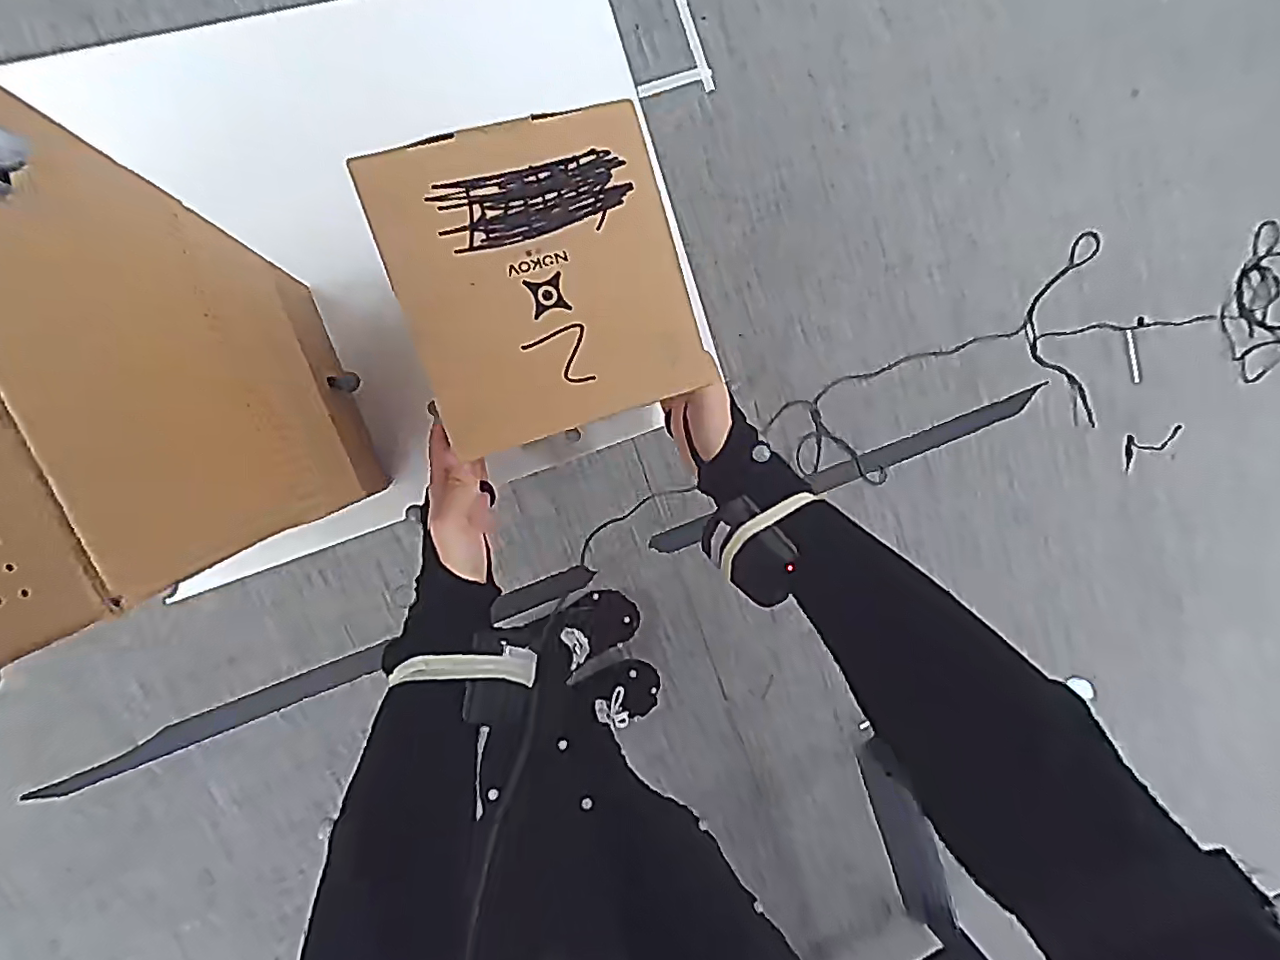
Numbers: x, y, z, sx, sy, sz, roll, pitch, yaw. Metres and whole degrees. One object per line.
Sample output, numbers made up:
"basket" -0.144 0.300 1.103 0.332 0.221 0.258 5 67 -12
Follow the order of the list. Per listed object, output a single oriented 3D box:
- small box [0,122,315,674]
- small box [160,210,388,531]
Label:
"small box" -0.257 -0.021 0.194 0.168 0.176 0.179 -22 99 -10
"small box" -0.292 -0.037 0.351 0.168 0.176 0.179 -20 98 -9
